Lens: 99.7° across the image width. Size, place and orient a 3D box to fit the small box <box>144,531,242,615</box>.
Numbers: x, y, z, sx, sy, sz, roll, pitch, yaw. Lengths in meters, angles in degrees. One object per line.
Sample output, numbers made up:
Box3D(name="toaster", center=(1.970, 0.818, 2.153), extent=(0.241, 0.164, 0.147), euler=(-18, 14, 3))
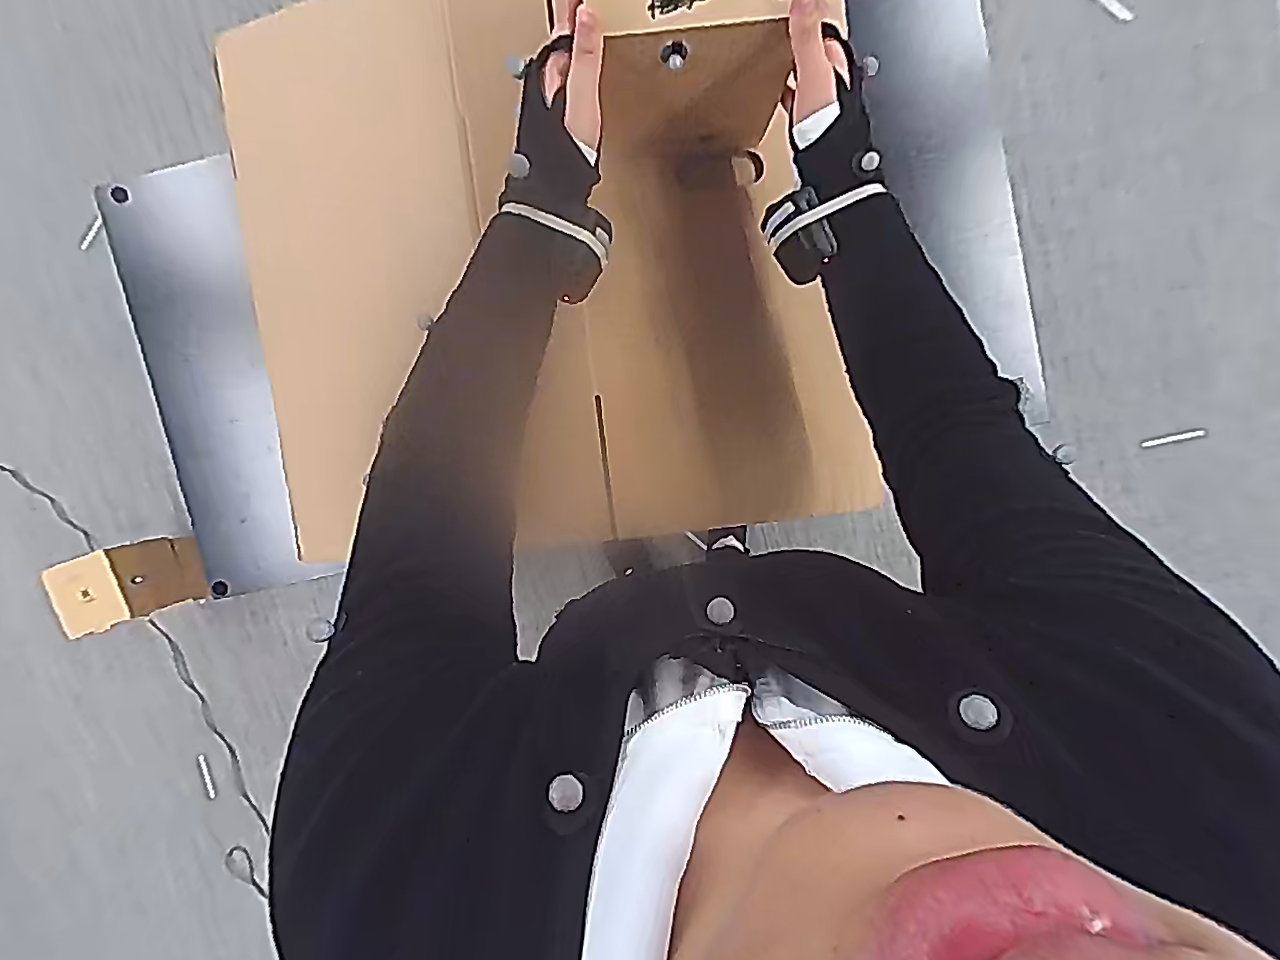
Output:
Box3D(name="small box", center=(-1.254, 0.246, 1.488), extent=(0.168, 0.176, 0.179), euler=(-16, 94, 4))

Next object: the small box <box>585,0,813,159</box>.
Box3D(name="small box", center=(0.036, -0.414, 0.463), extent=(0.168, 0.176, 0.179), euler=(-6, 93, 1))

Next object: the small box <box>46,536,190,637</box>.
Box3D(name="small box", center=(-1.265, 0.254, 1.326), extent=(0.168, 0.176, 0.179), euler=(-20, 92, 3))
